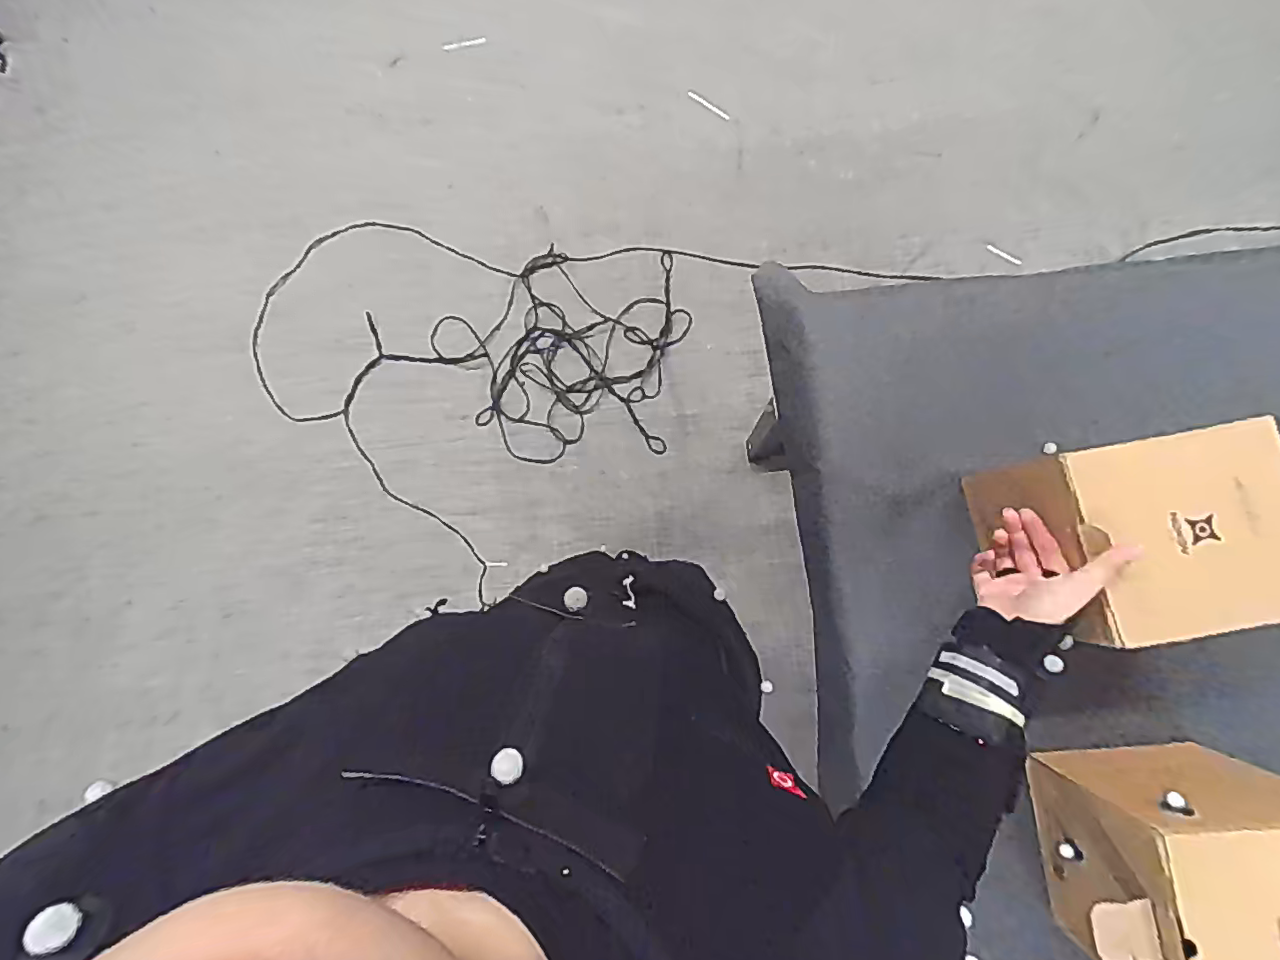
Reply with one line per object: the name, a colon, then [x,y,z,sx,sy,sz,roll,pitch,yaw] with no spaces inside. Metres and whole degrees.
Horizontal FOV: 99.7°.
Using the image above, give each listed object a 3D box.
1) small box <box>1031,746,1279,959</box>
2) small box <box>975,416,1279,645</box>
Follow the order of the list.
small box: [0.501,0.354,0.482,0.179,0.176,0.168,-6,83,4]
small box: [0.462,0.050,0.525,0.179,0.176,0.168,-12,83,1]
